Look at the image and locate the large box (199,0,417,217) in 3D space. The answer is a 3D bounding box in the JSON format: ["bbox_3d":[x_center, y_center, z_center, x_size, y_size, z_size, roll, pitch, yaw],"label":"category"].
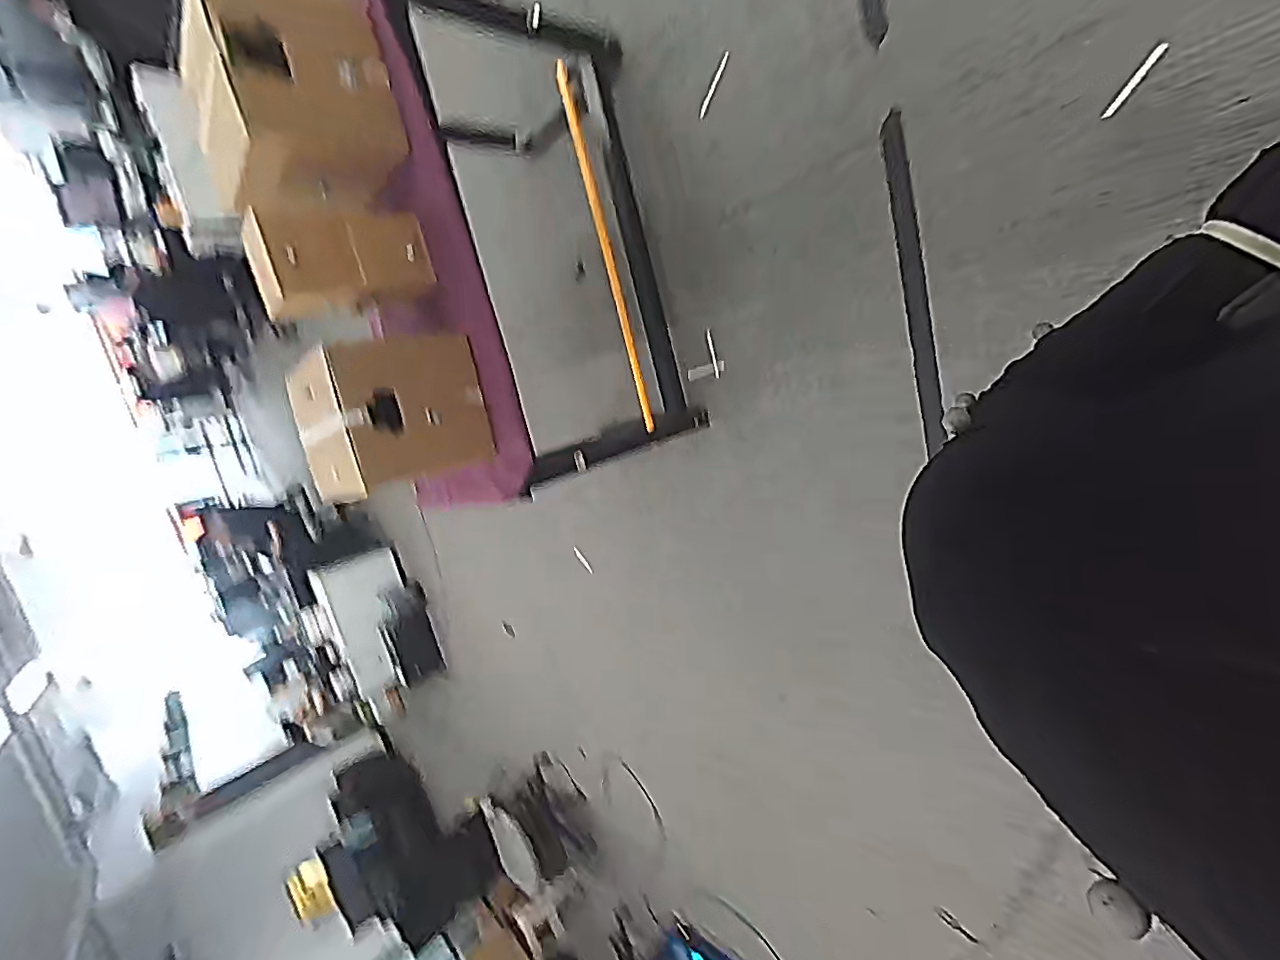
[{"bbox_3d":[-0.757,-0.838,1.228,0.408,0.320,0.320,-4,103,50],"label":"large box"}]

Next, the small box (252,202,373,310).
[{"bbox_3d":[-0.720,-0.489,1.193,0.168,0.176,0.179,-3,106,49],"label":"small box"}]
